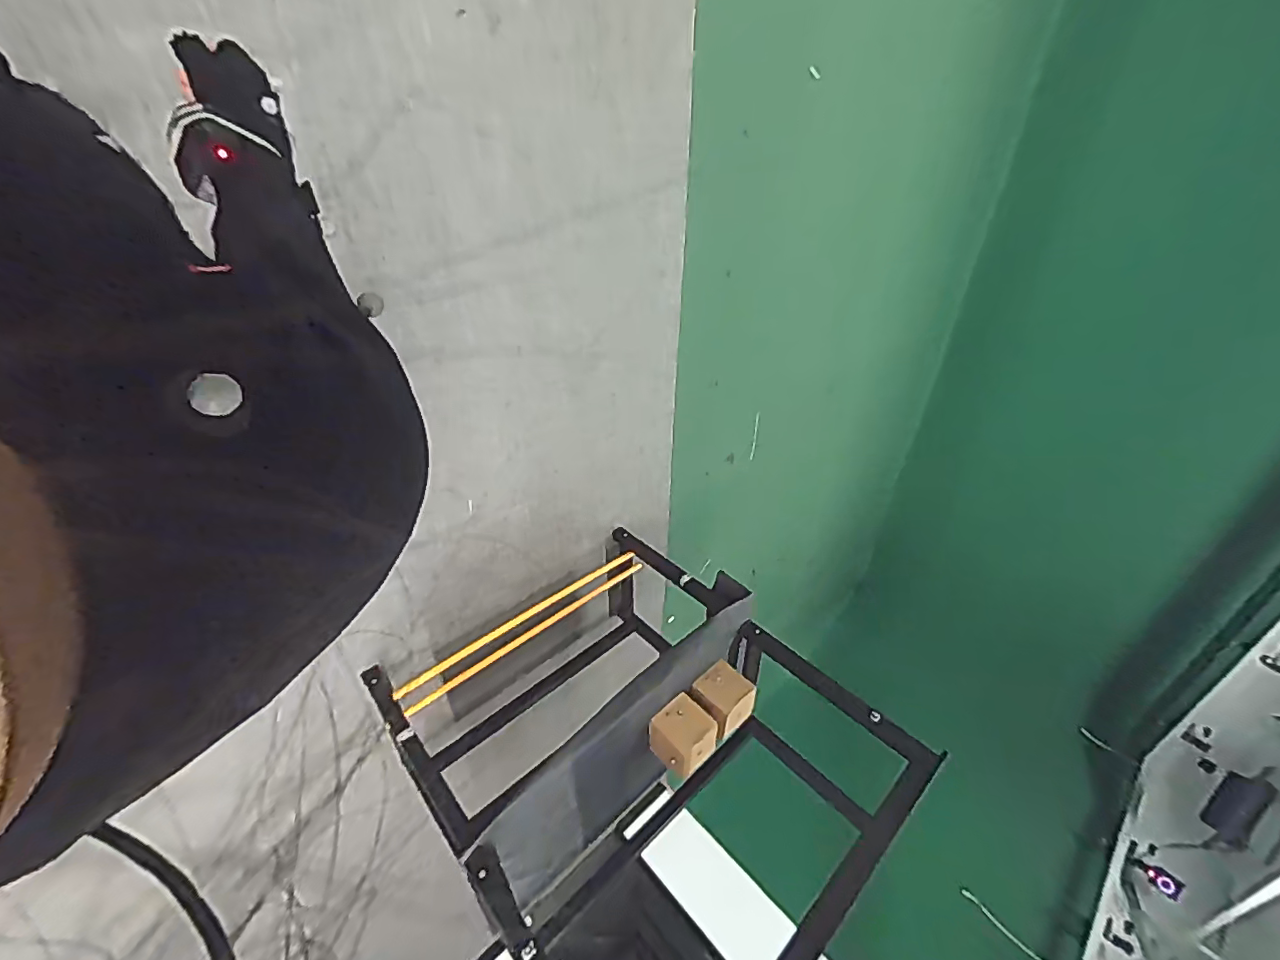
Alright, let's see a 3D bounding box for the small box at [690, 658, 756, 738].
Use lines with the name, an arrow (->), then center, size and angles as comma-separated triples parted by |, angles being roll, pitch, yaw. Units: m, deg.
small box -> 0.298, 0.794, 1.980 | 0.168, 0.176, 0.179 | -27, 133, -34
